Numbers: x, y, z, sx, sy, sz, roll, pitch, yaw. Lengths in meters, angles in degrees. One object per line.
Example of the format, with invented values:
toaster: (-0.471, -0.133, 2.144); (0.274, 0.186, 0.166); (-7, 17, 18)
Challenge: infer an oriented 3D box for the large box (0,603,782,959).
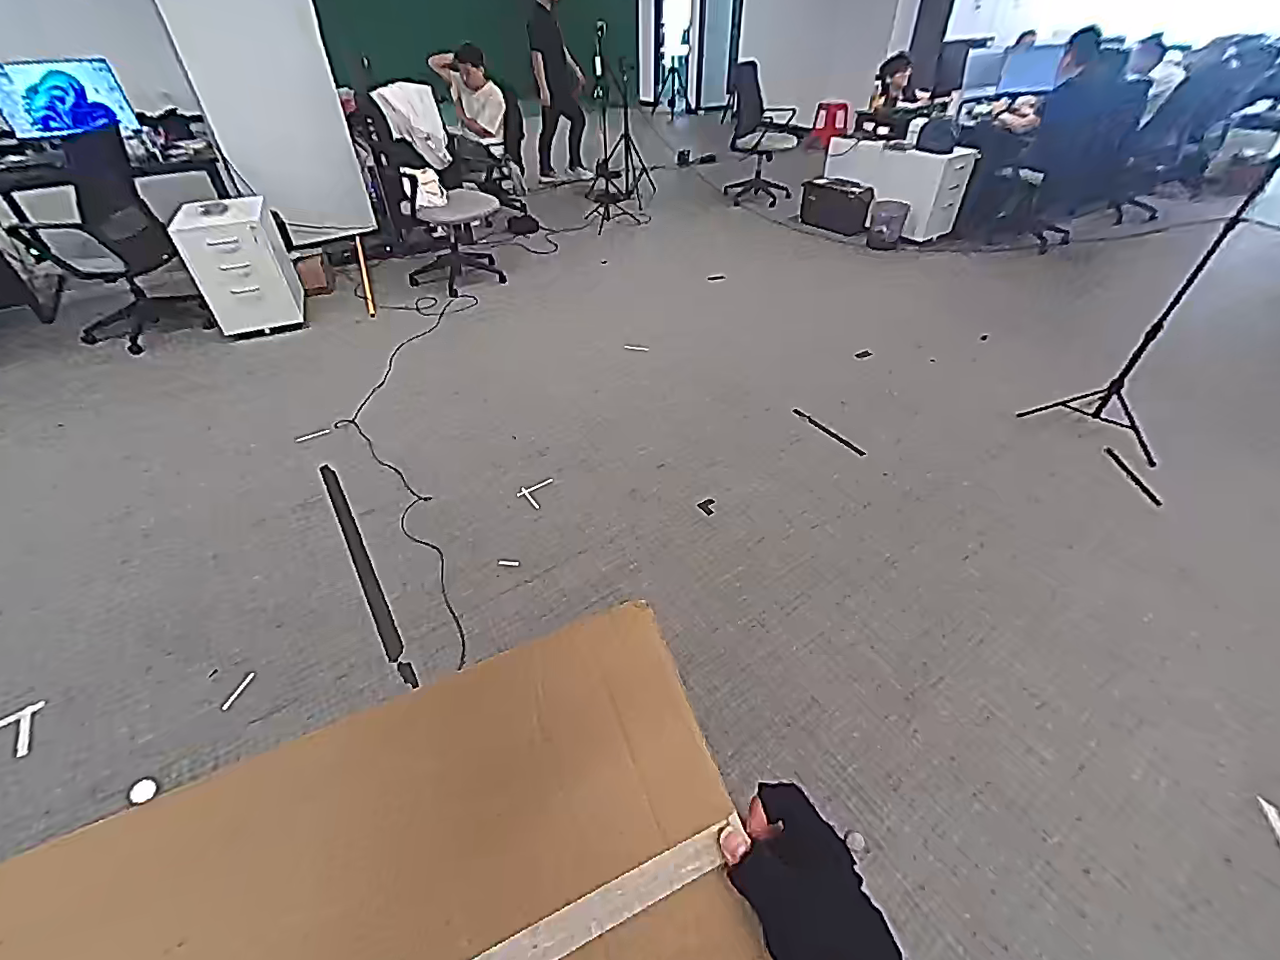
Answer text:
large box: (-0.149, 0.338, 0.434); (0.408, 0.320, 0.320); (-19, 75, -16)
